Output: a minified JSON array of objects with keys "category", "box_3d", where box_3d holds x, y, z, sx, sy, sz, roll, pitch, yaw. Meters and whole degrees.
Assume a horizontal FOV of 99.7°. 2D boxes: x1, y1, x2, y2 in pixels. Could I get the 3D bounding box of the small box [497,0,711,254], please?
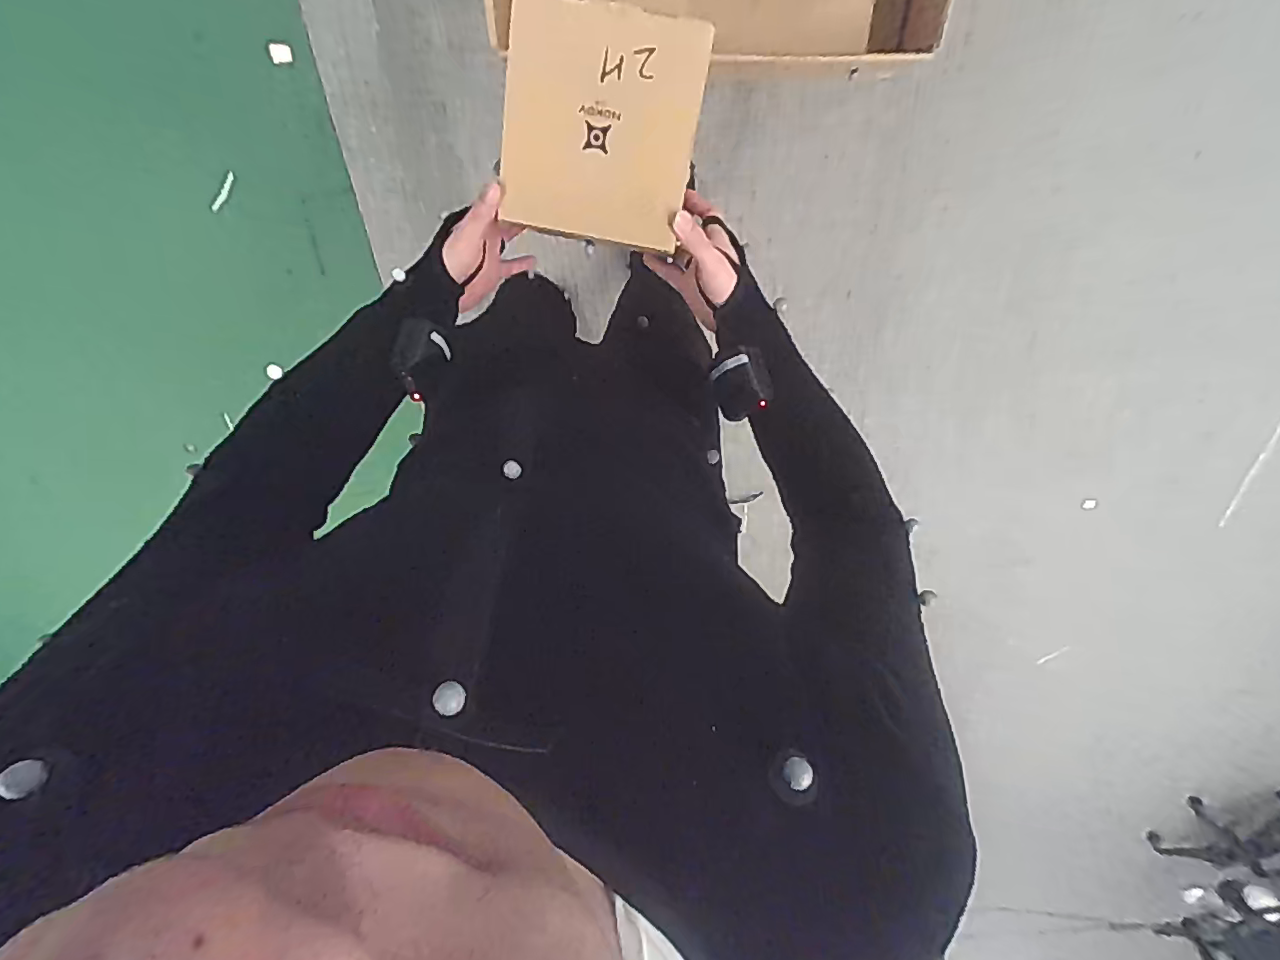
[{"category":"small box","box_3d":[-0.033,-0.333,0.540,0.168,0.176,0.179,10,111,-2]}]
